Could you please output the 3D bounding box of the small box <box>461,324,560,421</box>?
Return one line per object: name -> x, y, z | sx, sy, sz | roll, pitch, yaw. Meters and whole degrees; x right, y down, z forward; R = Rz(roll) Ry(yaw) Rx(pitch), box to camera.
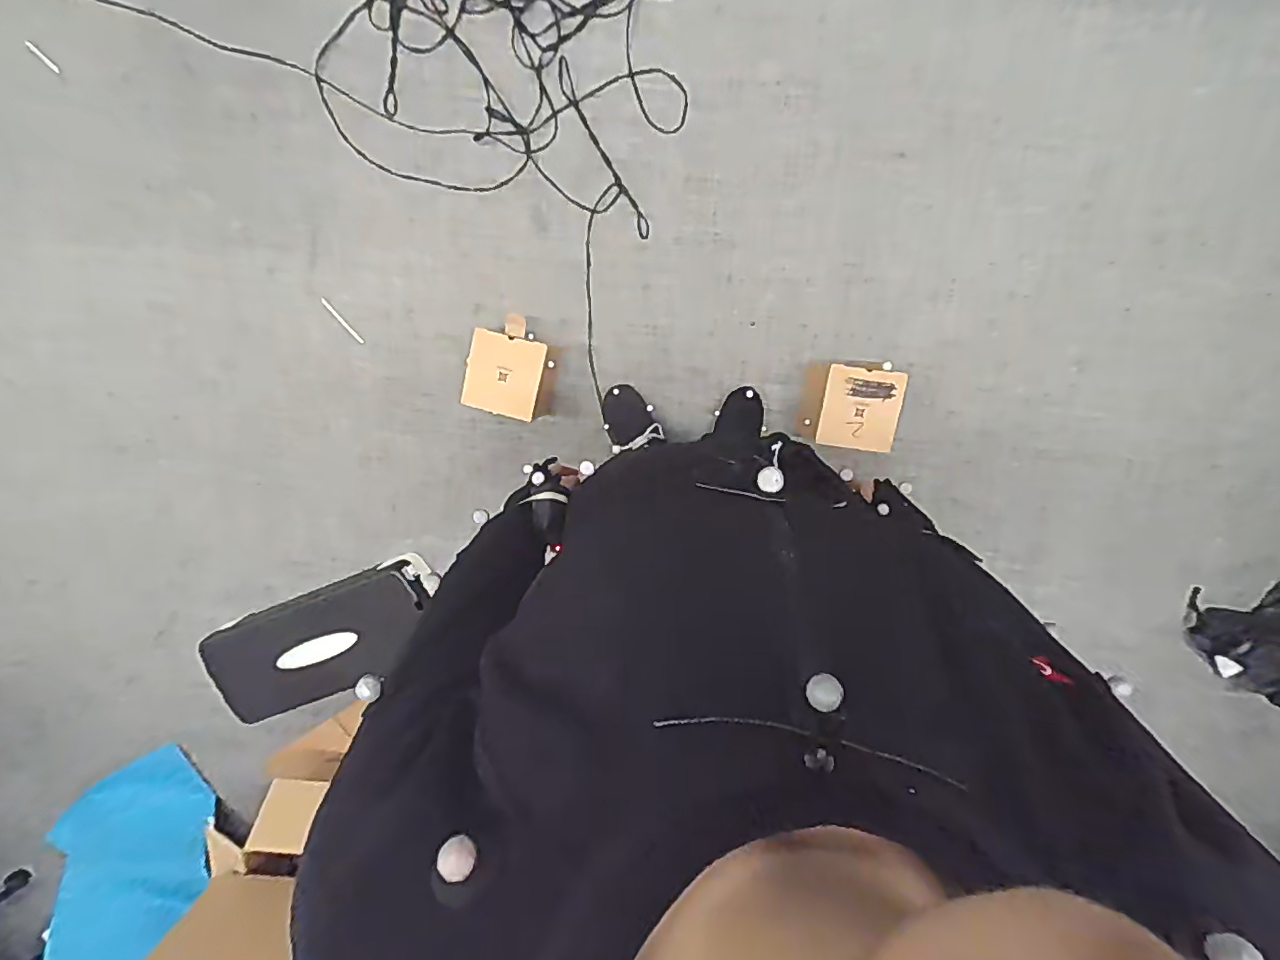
small box -> -0.293, -0.248, 1.254 | 0.168, 0.176, 0.179 | 15, 101, 0
